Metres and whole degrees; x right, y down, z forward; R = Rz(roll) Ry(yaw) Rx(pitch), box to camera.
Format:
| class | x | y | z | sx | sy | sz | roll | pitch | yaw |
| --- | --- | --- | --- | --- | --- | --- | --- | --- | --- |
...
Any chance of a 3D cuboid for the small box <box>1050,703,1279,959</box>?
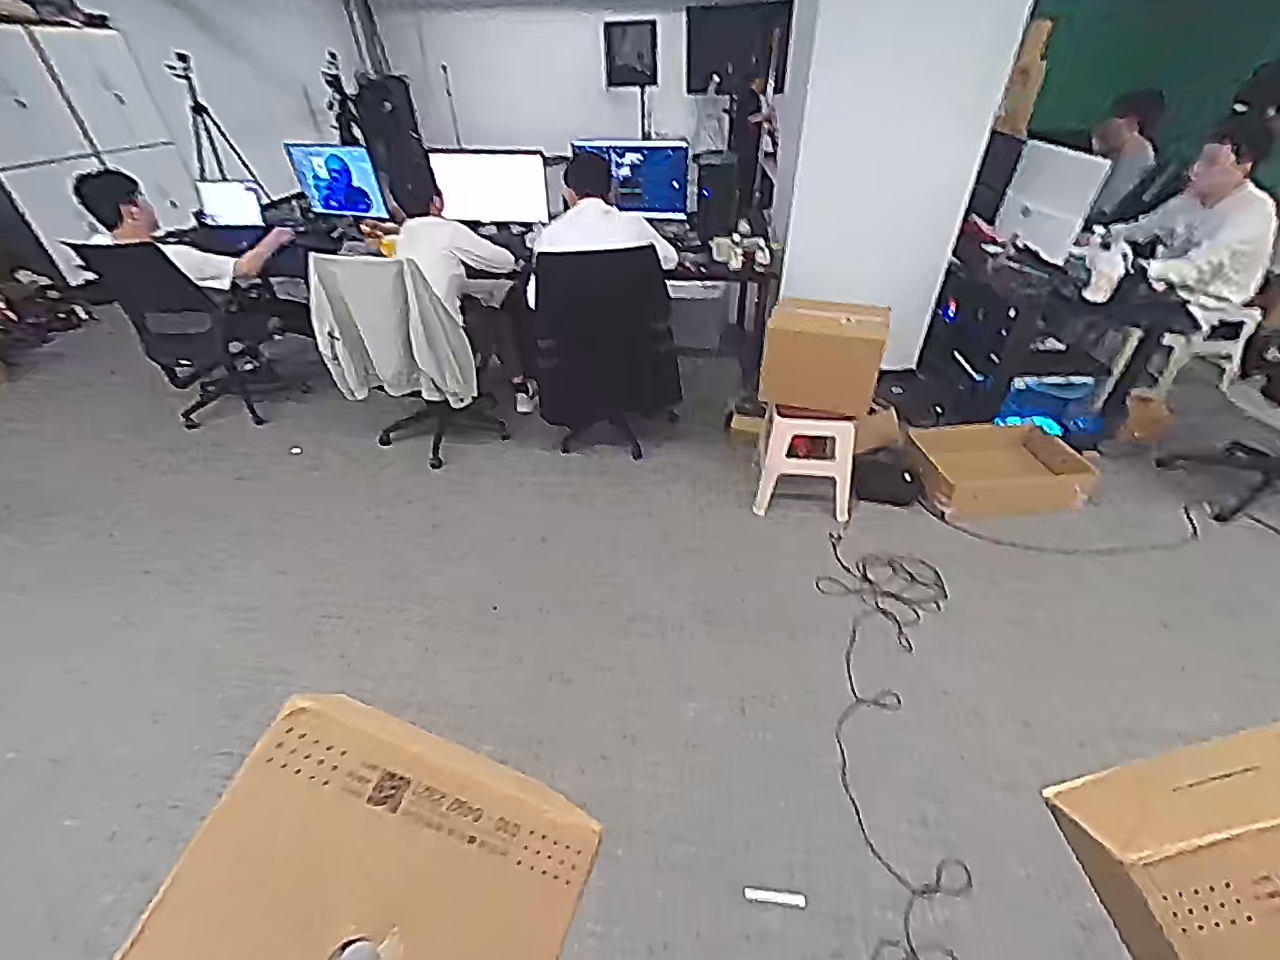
| class | x | y | z | sx | sy | sz | roll | pitch | yaw |
| --- | --- | --- | --- | --- | --- | --- | --- | --- | --- |
| small box | 0.358 | 0.227 | 0.277 | 0.168 | 0.179 | 0.176 | -26 | 64 | 15 |
